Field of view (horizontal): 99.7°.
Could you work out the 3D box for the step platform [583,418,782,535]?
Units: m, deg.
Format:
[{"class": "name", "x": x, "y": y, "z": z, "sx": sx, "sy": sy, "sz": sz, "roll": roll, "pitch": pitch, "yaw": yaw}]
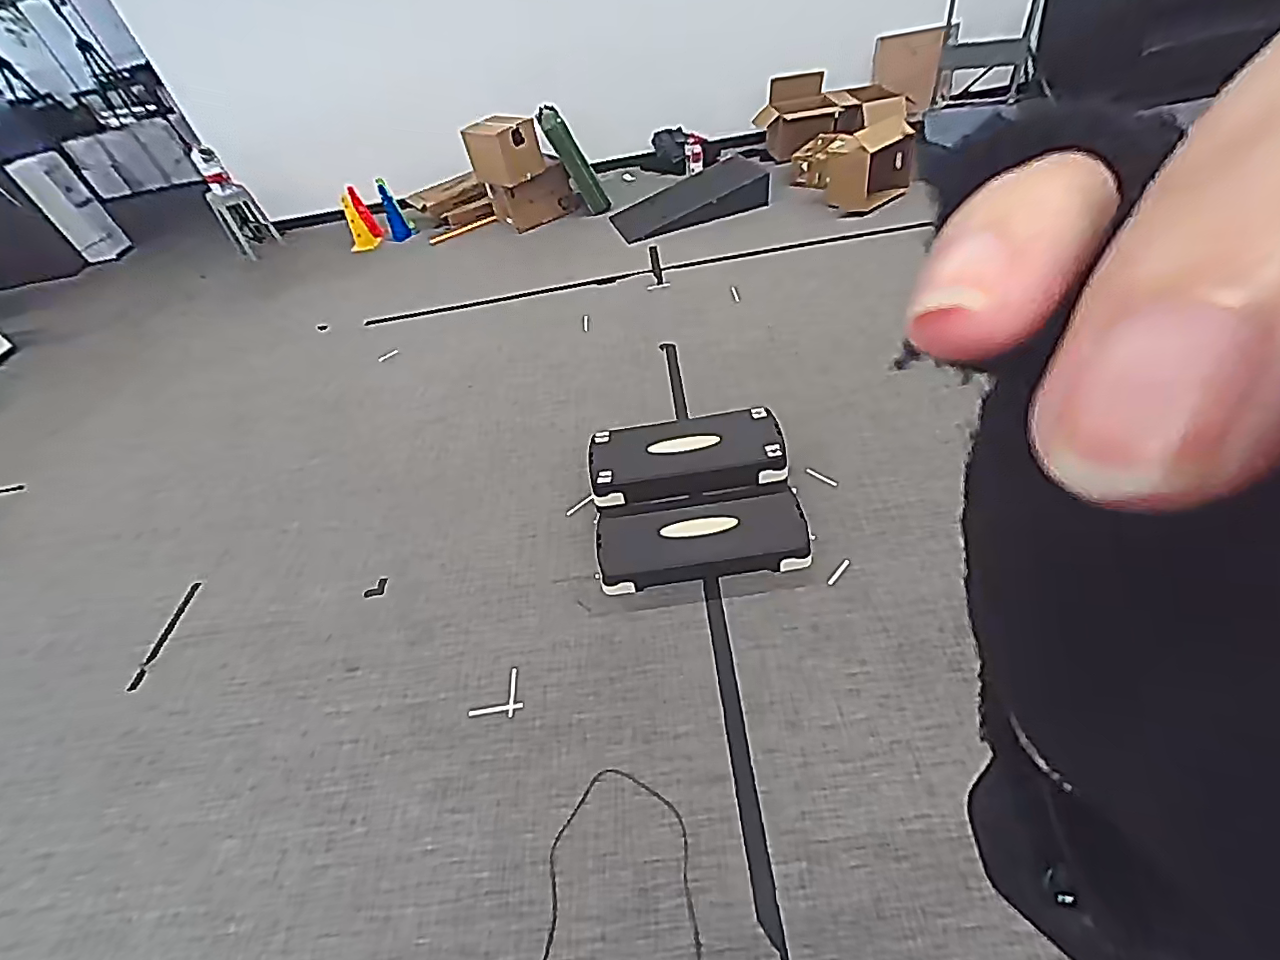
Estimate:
[{"class": "step platform", "x": 0.143, "y": -0.018, "z": 1.899, "sx": 0.684, "sy": 0.204, "sz": 0.286, "roll": -9, "pitch": 46, "yaw": 2}]
